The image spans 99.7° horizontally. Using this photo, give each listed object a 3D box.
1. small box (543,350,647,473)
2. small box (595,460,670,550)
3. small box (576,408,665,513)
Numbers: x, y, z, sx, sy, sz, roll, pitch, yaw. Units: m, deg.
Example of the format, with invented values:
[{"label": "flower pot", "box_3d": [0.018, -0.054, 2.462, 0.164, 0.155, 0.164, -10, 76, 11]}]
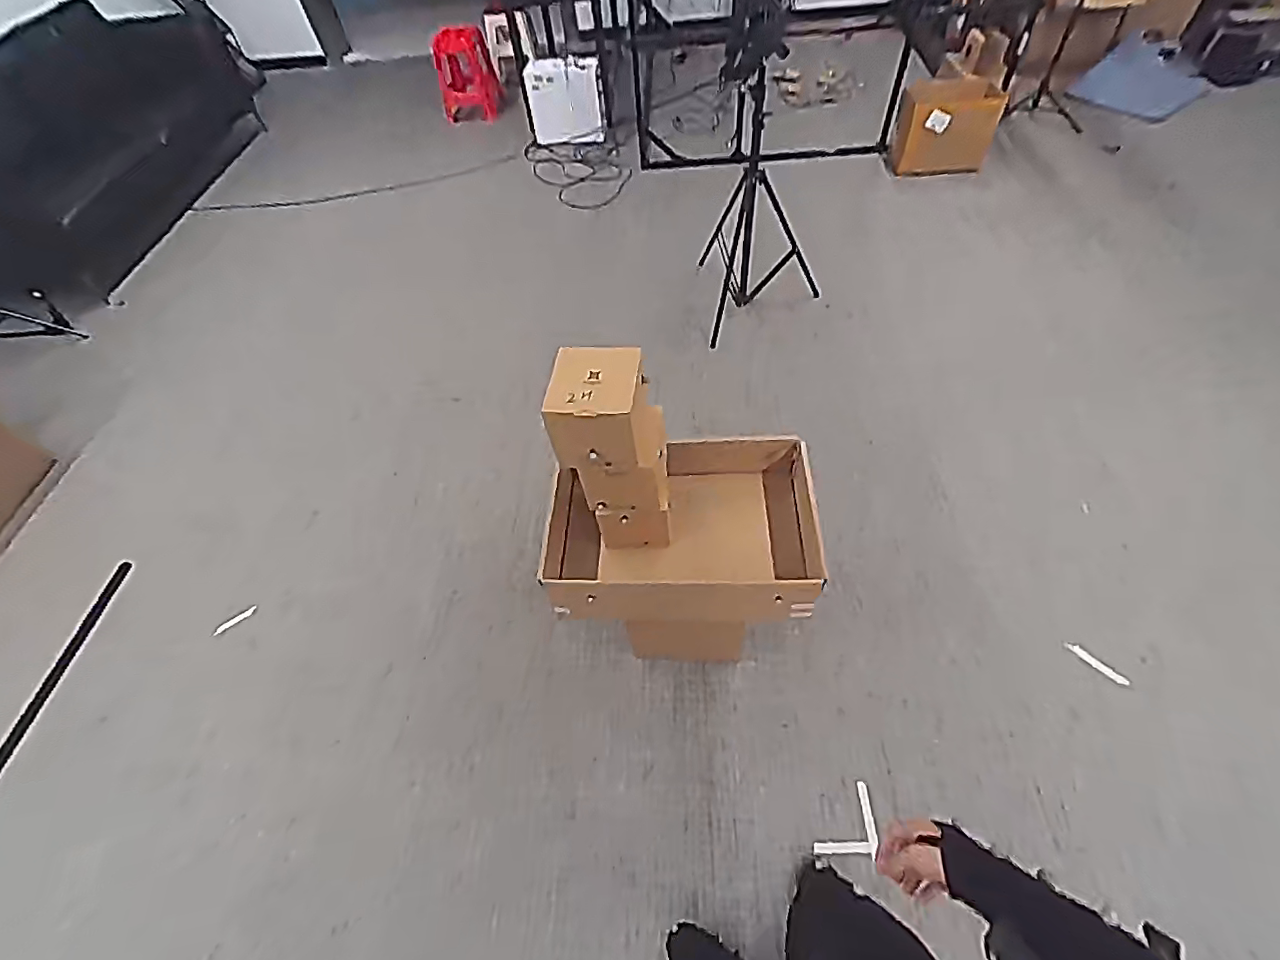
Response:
[{"label": "small box", "box_3d": [-0.079, -0.135, 1.068, 0.168, 0.176, 0.179, 2, 56, 8]}, {"label": "small box", "box_3d": [-0.014, 0.055, 1.332, 0.168, 0.176, 0.179, -4, 54, 4]}, {"label": "small box", "box_3d": [-0.034, -0.041, 1.199, 0.168, 0.176, 0.179, 2, 55, 7]}]
